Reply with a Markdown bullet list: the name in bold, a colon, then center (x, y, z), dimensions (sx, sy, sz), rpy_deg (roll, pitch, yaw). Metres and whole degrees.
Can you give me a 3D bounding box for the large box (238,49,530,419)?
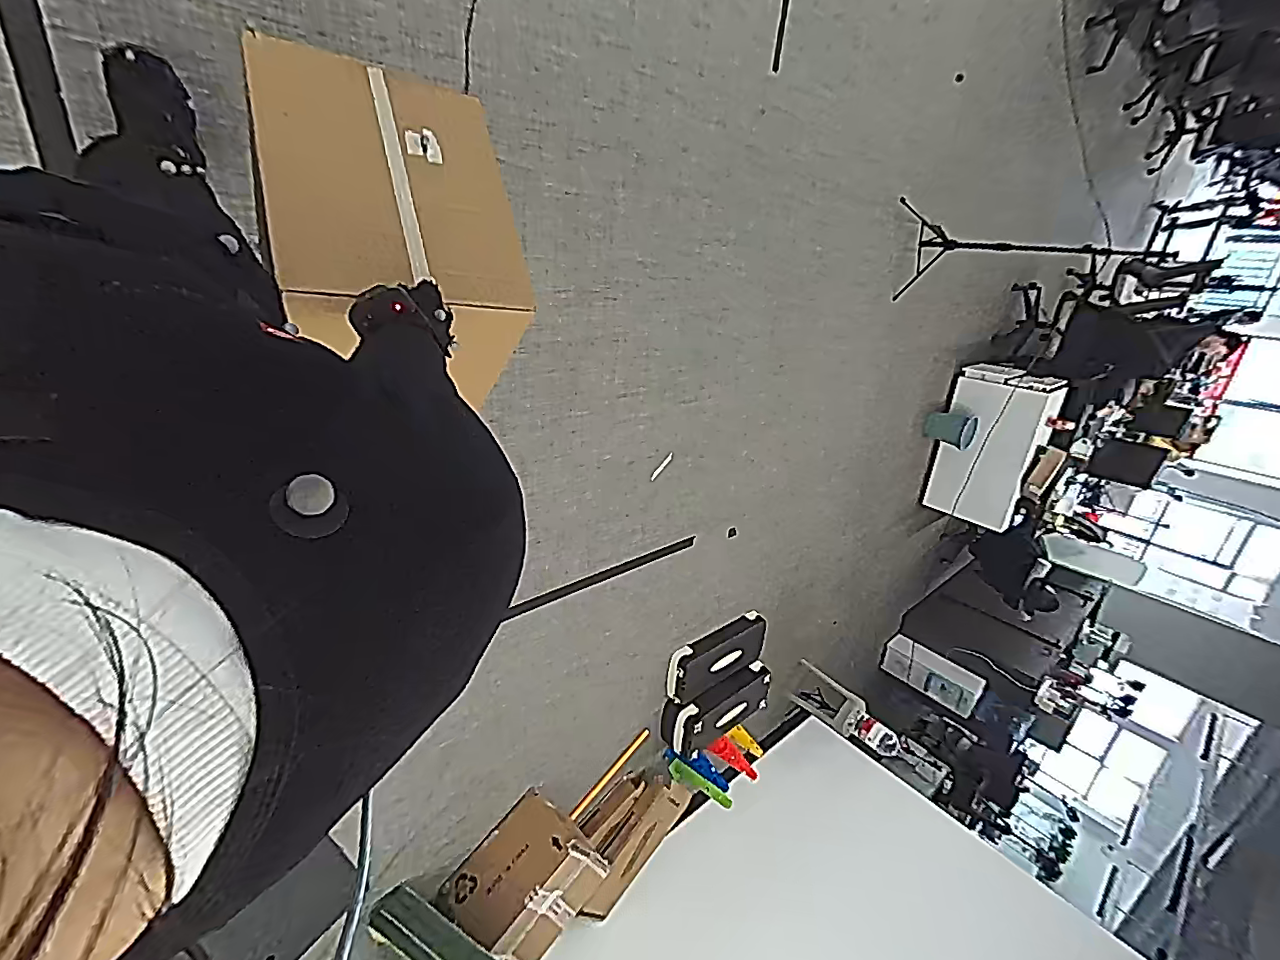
- **large box**: center (-0.418, -0.350, 0.866), dimensions (0.320, 0.320, 0.408), rpy_deg (-8, 71, -37)
